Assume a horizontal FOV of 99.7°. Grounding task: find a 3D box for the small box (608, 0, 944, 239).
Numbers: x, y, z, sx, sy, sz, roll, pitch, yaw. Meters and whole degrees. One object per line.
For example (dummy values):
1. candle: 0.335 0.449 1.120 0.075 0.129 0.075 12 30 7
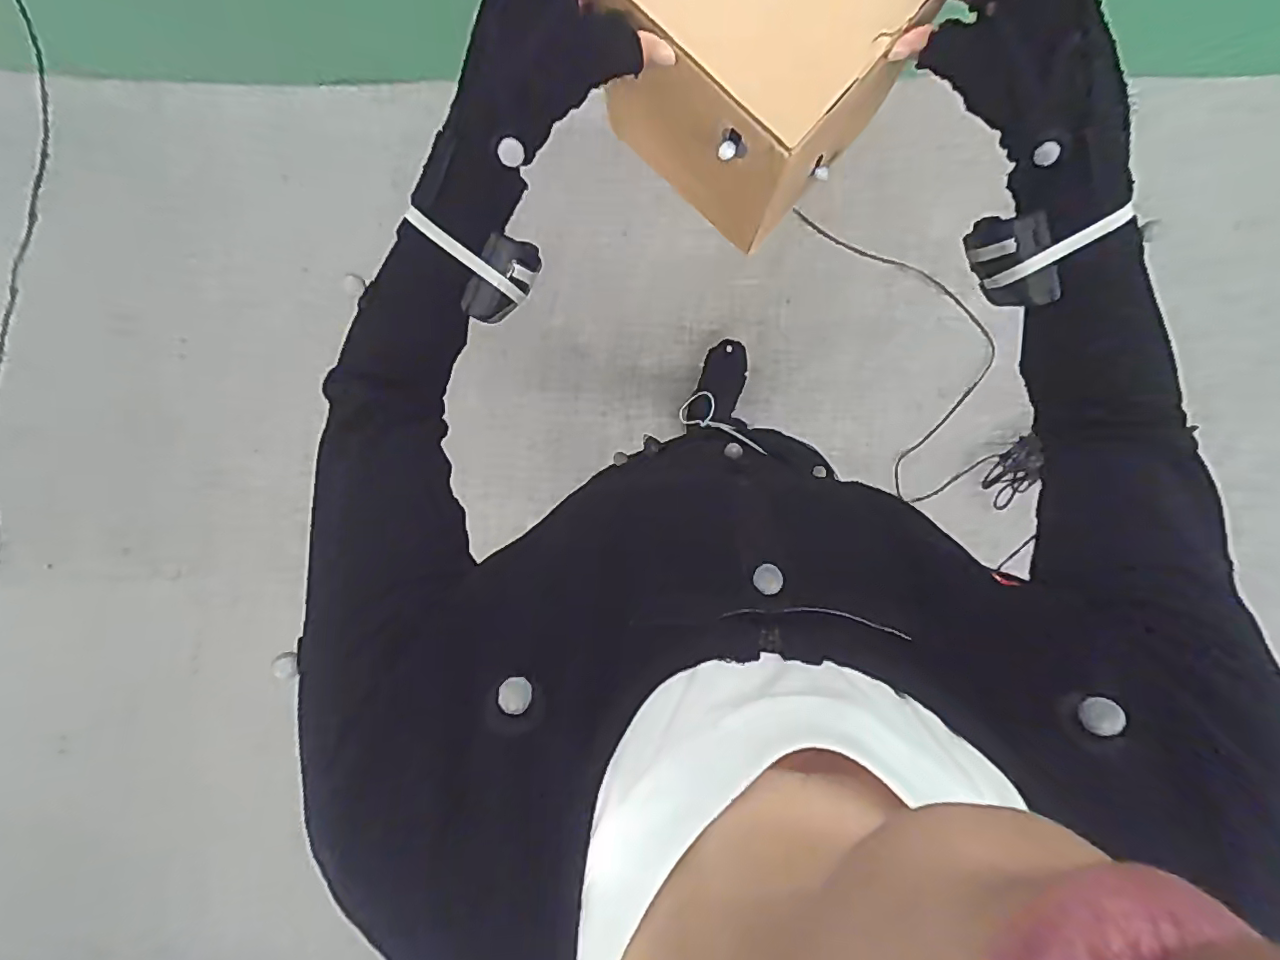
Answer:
1. small box: 0.087 -0.325 0.412 0.179 0.176 0.168 43 93 -1
